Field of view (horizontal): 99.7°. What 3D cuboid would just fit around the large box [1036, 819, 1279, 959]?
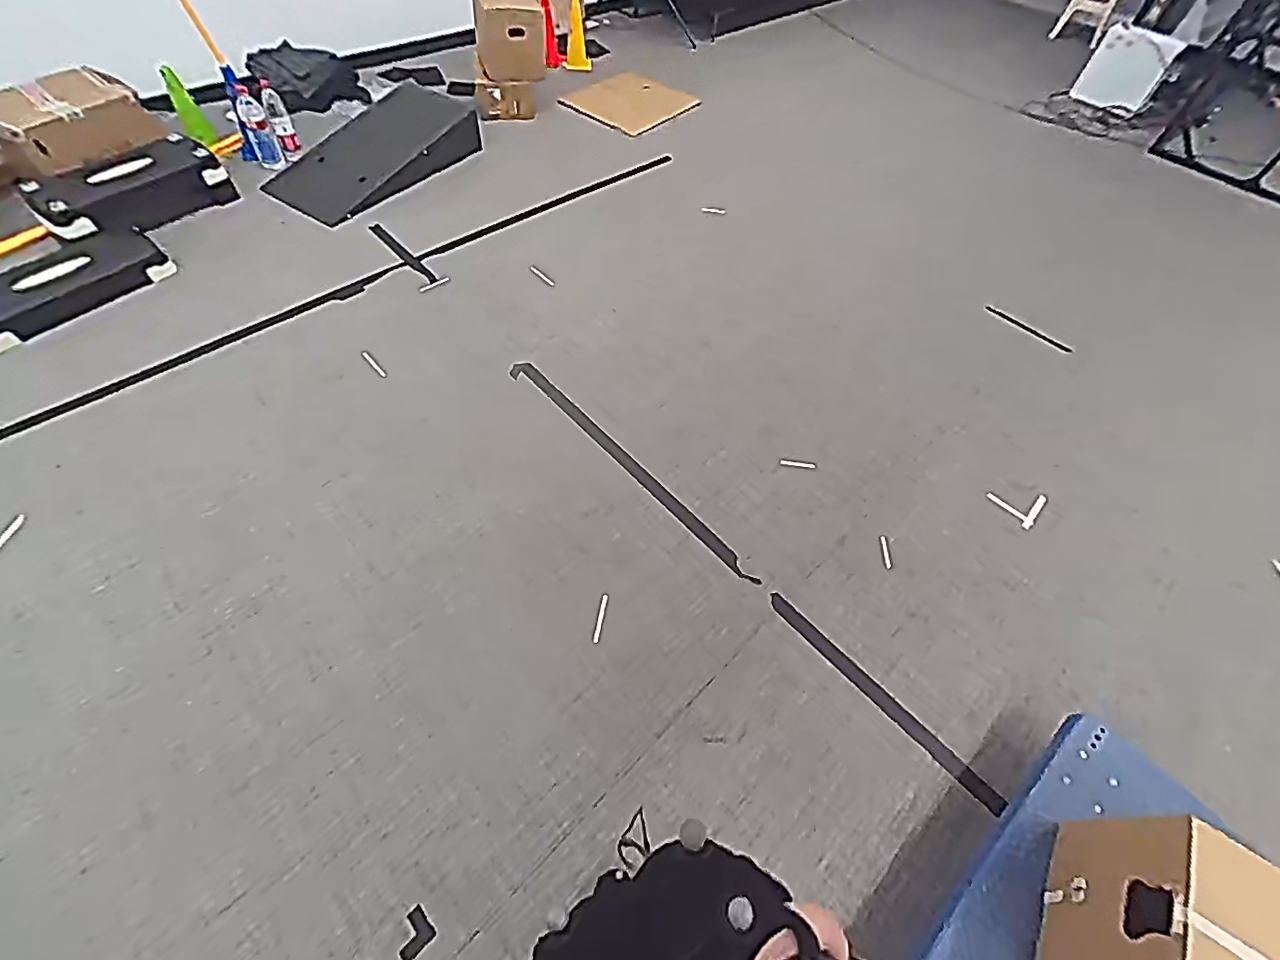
[{"bbox_3d":[0.955,0.827,0.872,0.408,0.320,0.320,31,59,15],"label":"large box"}]
